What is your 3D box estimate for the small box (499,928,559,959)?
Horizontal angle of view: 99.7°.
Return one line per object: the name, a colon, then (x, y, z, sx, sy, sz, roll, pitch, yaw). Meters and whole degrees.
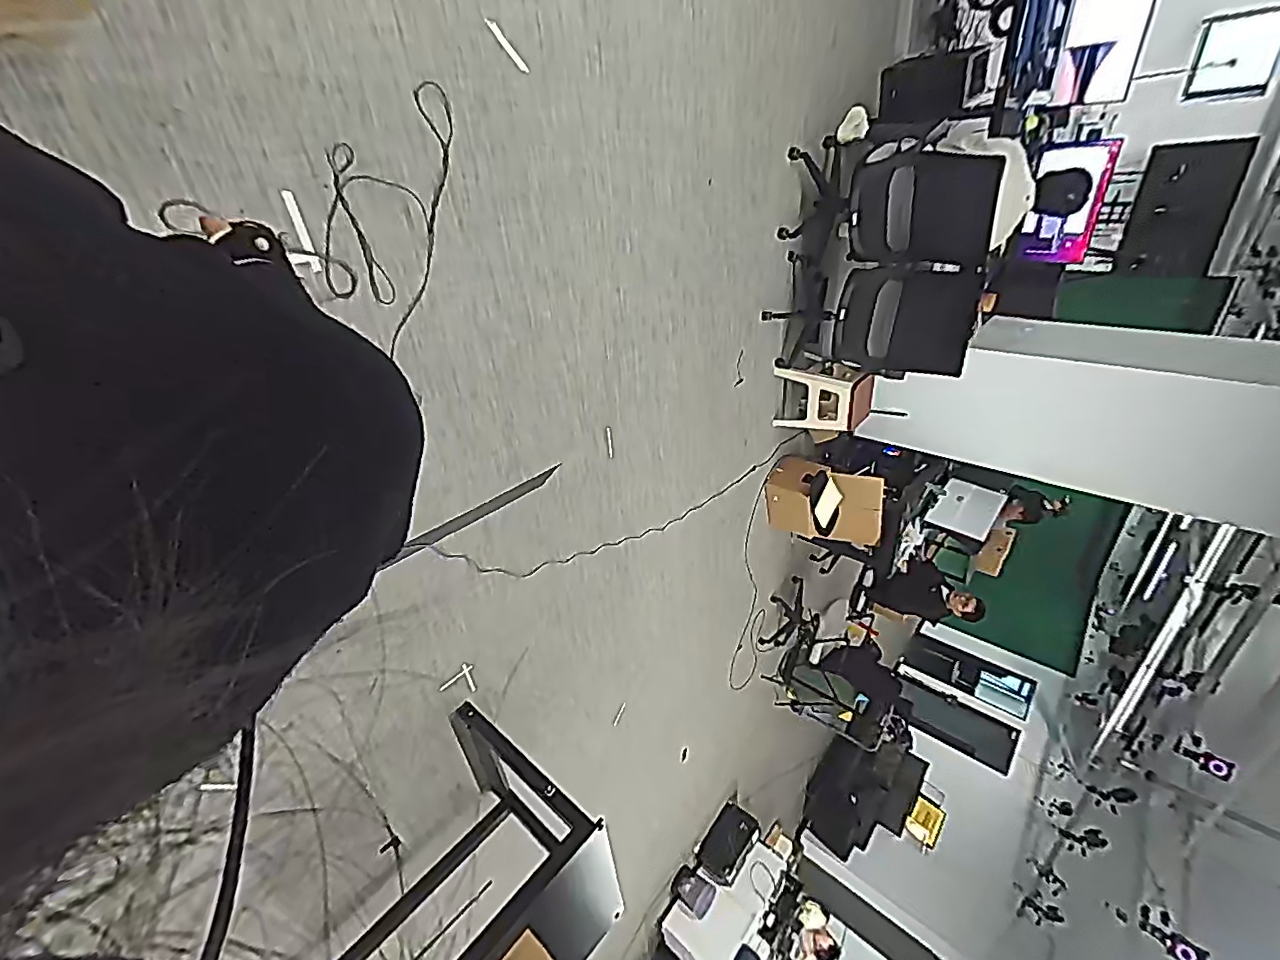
small box: (-0.296, 1.361, 1.448, 0.168, 0.176, 0.179, -34, 131, -37)
